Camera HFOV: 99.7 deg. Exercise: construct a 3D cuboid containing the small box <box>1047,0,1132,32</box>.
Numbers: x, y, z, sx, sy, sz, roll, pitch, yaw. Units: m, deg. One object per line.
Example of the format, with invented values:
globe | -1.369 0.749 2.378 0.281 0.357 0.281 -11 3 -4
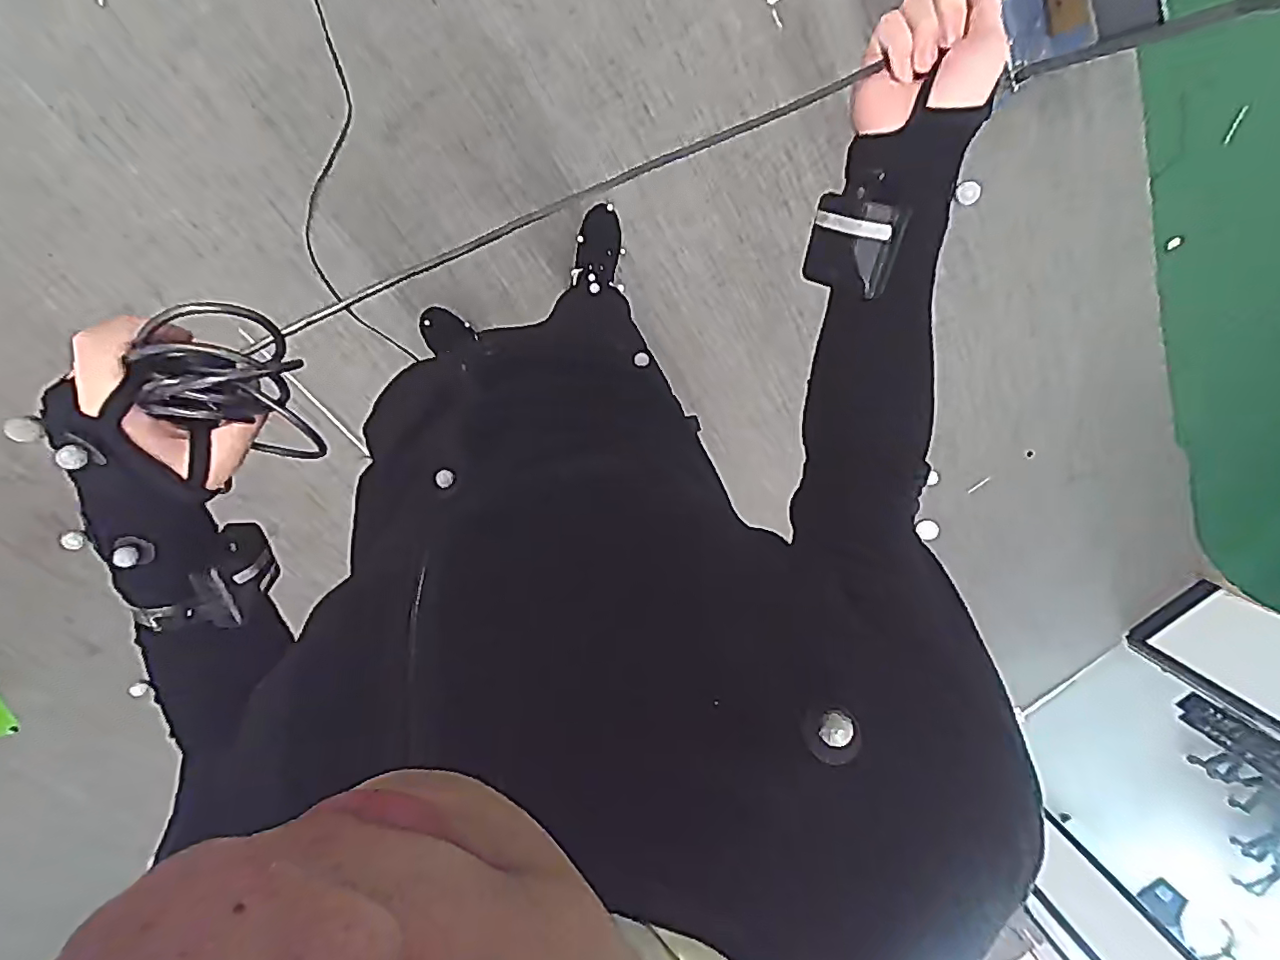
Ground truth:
small box | 1.078 -1.189 1.239 0.179 0.176 0.168 -35 116 2
